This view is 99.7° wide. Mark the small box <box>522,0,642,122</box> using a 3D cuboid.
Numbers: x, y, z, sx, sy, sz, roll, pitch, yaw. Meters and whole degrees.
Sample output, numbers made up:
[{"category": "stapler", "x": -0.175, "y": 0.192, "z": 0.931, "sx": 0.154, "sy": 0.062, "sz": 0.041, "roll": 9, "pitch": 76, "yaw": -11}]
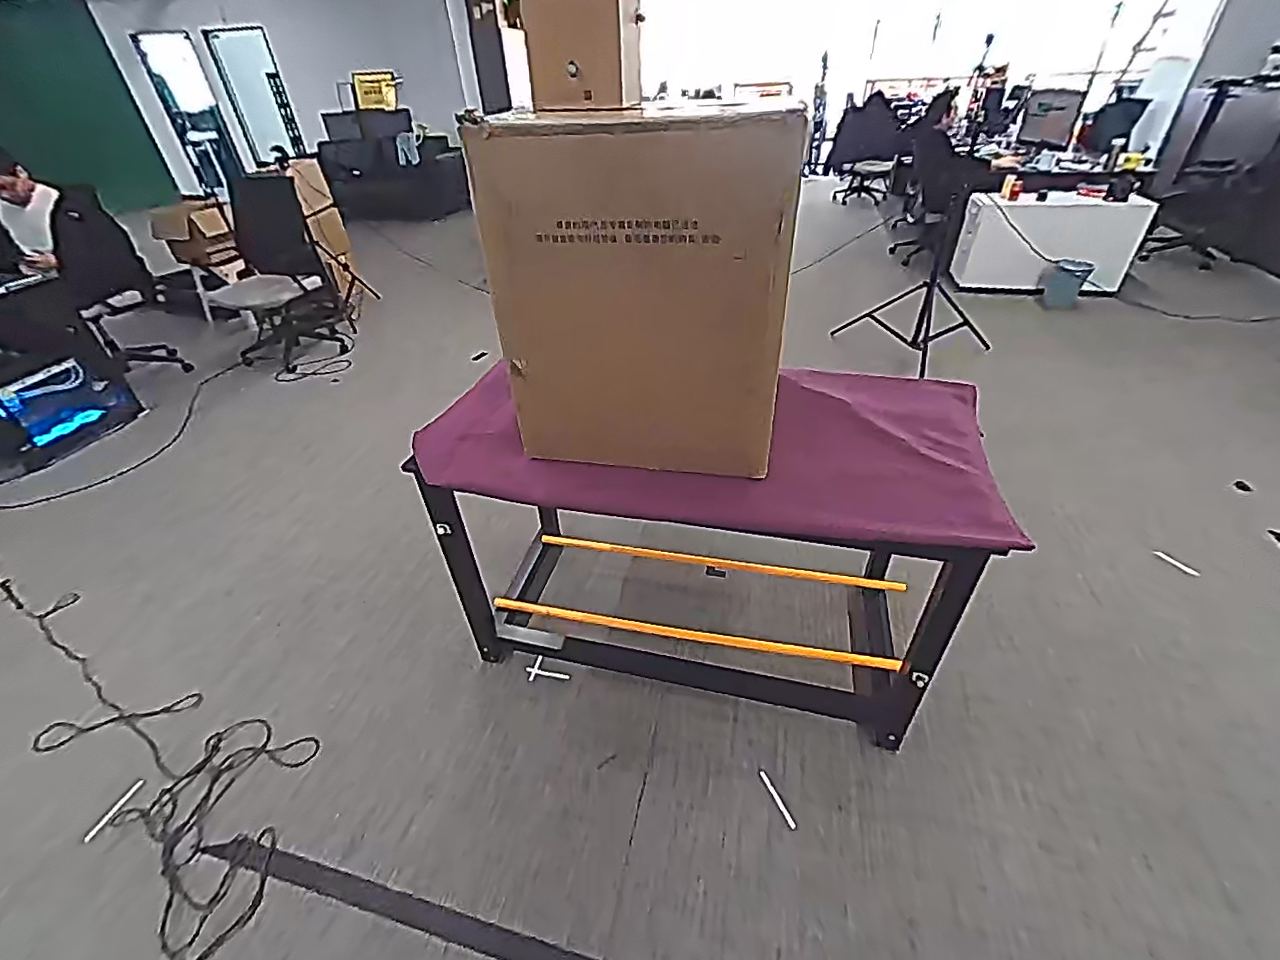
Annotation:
[{"category": "small box", "x": -0.093, "y": -0.750, "z": 0.970, "sx": 0.168, "sy": 0.176, "sz": 0.179, "roll": 6, "pitch": 38, "yaw": 11}]
